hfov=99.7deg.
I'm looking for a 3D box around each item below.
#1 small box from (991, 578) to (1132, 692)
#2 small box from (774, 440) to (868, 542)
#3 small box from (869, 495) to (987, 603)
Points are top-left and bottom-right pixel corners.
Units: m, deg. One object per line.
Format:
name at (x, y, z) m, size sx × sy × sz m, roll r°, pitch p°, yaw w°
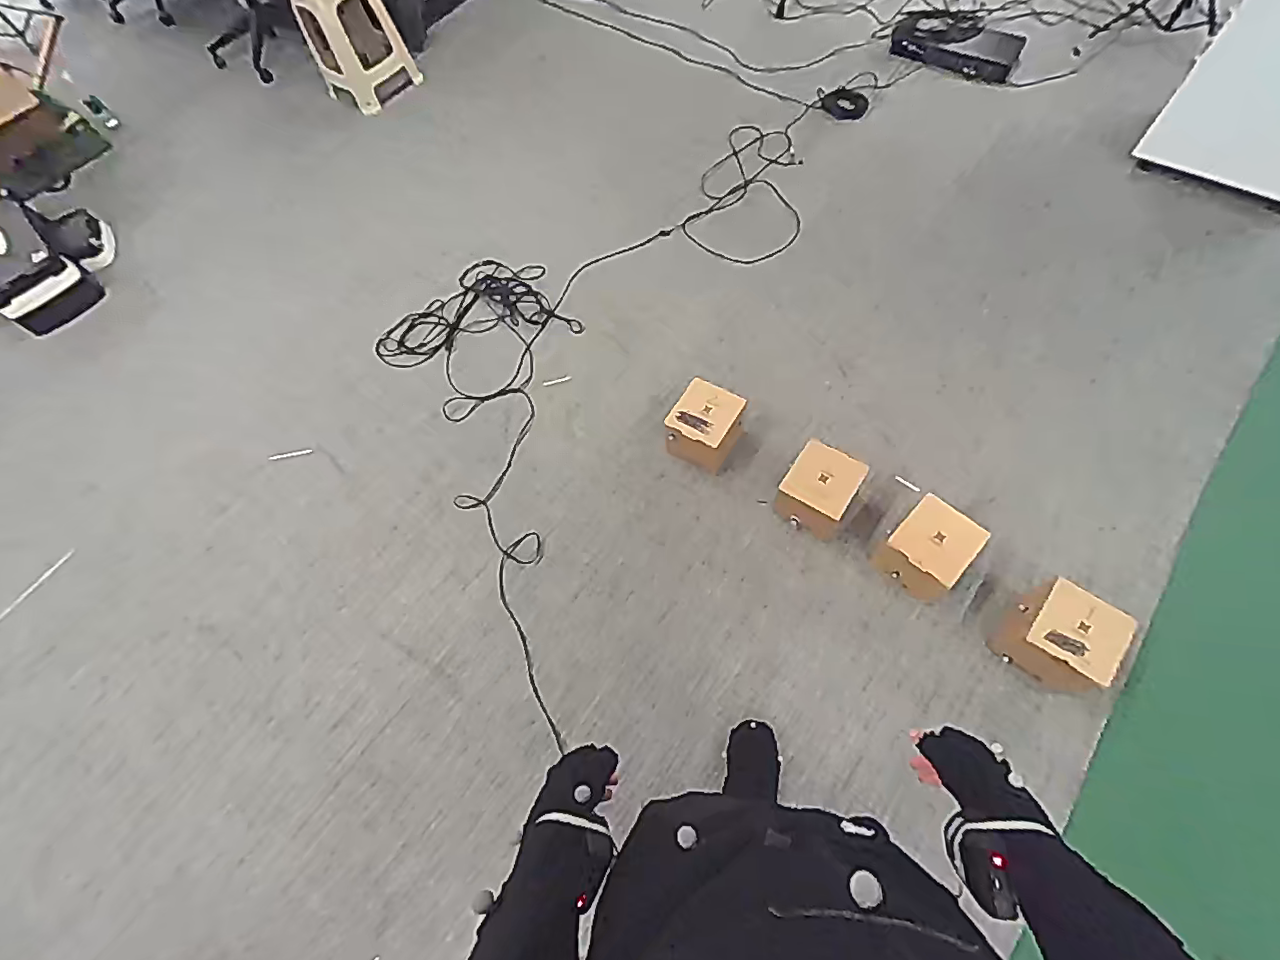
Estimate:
small box at (0.934, 0.355, 1.219) m, size 0.168 × 0.176 × 0.179 m, roll 35°, pitch 72°, yaw 20°
small box at (0.466, 0.033, 1.422) m, size 0.168 × 0.176 × 0.179 m, roll 30°, pitch 73°, yaw 20°
small box at (0.697, 0.174, 1.331) m, size 0.168 × 0.176 × 0.179 m, roll 40°, pitch 75°, yaw 21°
